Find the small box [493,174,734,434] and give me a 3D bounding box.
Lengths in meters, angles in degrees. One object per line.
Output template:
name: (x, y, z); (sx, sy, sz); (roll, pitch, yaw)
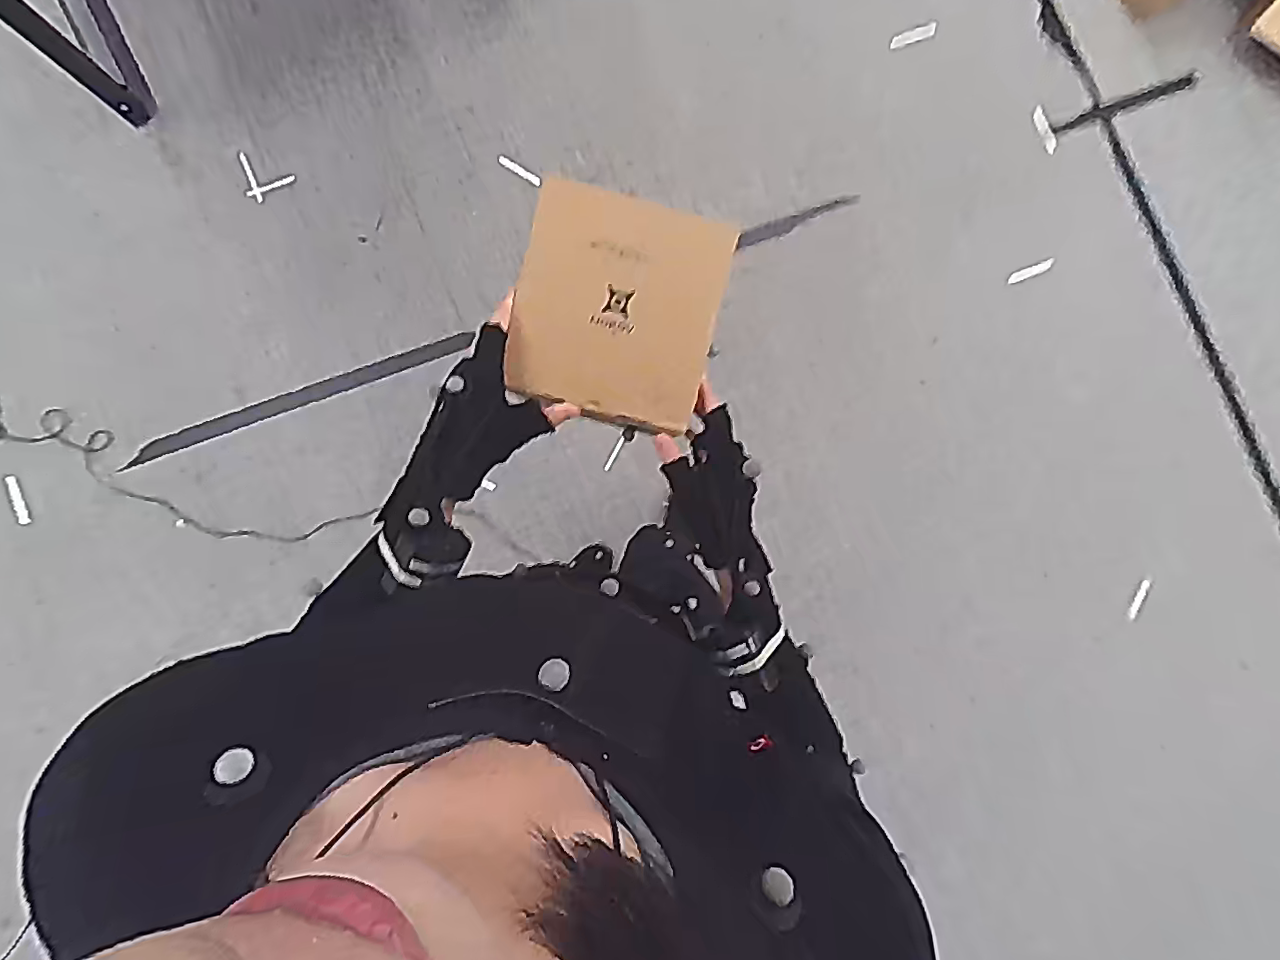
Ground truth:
small box: (-0.025, -0.146, 0.518); (0.168, 0.176, 0.179); (13, 91, -4)
